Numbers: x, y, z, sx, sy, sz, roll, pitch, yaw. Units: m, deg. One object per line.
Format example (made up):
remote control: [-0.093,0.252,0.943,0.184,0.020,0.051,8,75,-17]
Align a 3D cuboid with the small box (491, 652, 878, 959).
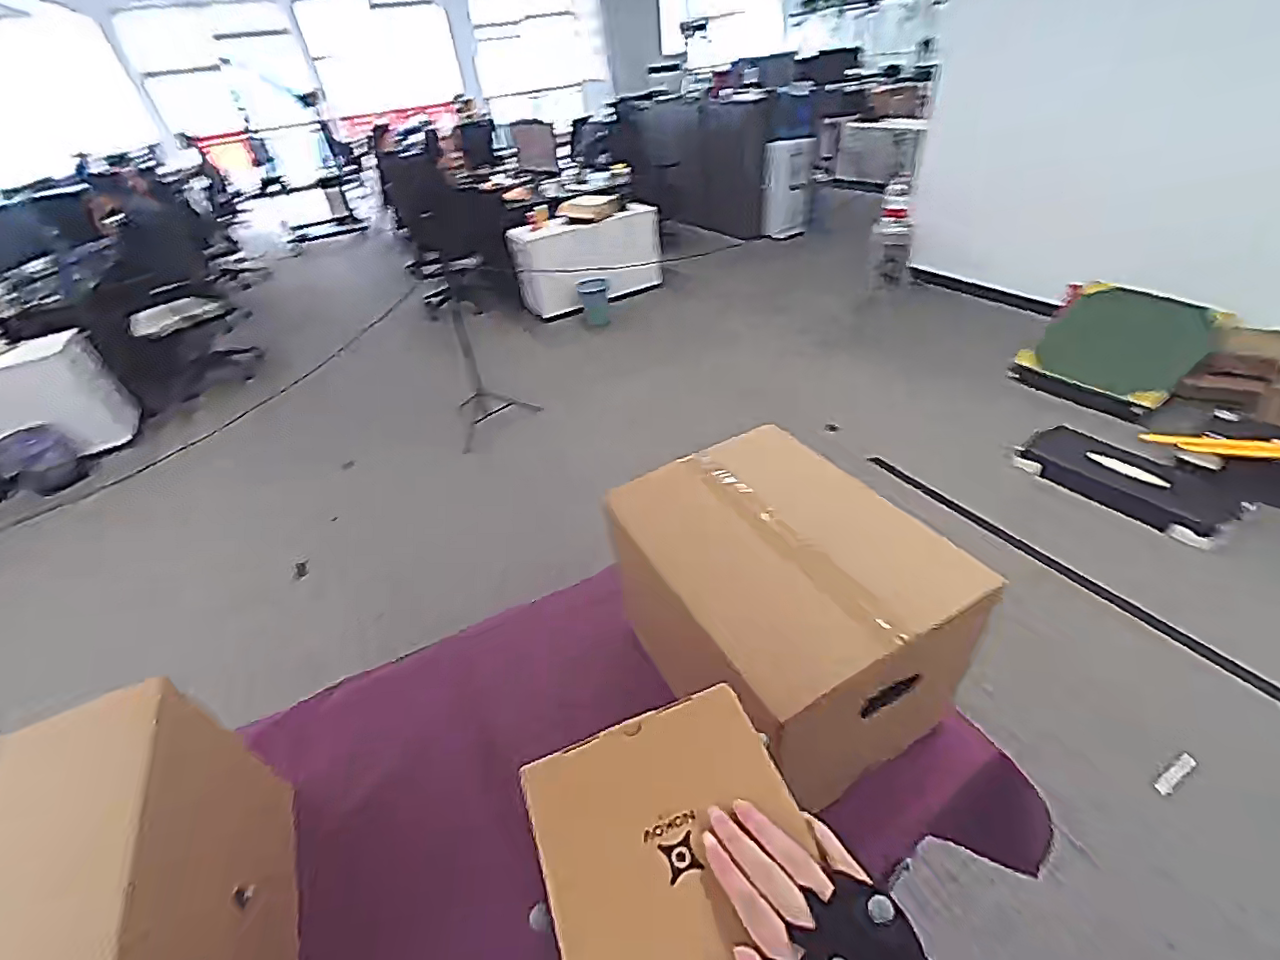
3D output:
small box: [0.024,0.251,0.377,0.179,0.176,0.168,-34,27,-7]
